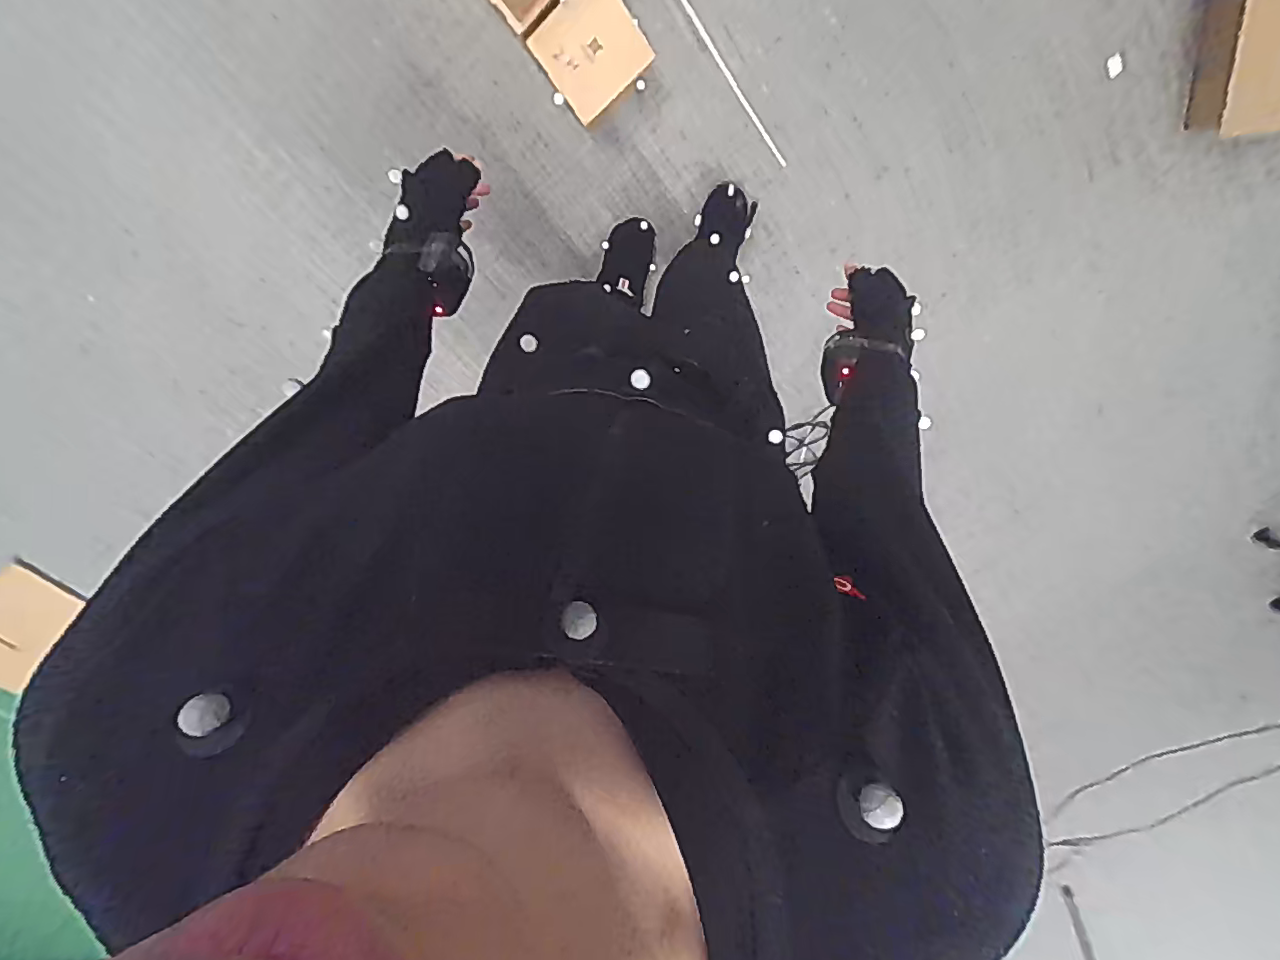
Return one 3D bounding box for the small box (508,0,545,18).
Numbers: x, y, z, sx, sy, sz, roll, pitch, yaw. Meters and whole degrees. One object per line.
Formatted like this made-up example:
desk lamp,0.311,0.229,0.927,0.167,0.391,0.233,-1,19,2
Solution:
small box,-0.184,-0.870,0.825,0.179,0.176,0.168,-38,113,17
